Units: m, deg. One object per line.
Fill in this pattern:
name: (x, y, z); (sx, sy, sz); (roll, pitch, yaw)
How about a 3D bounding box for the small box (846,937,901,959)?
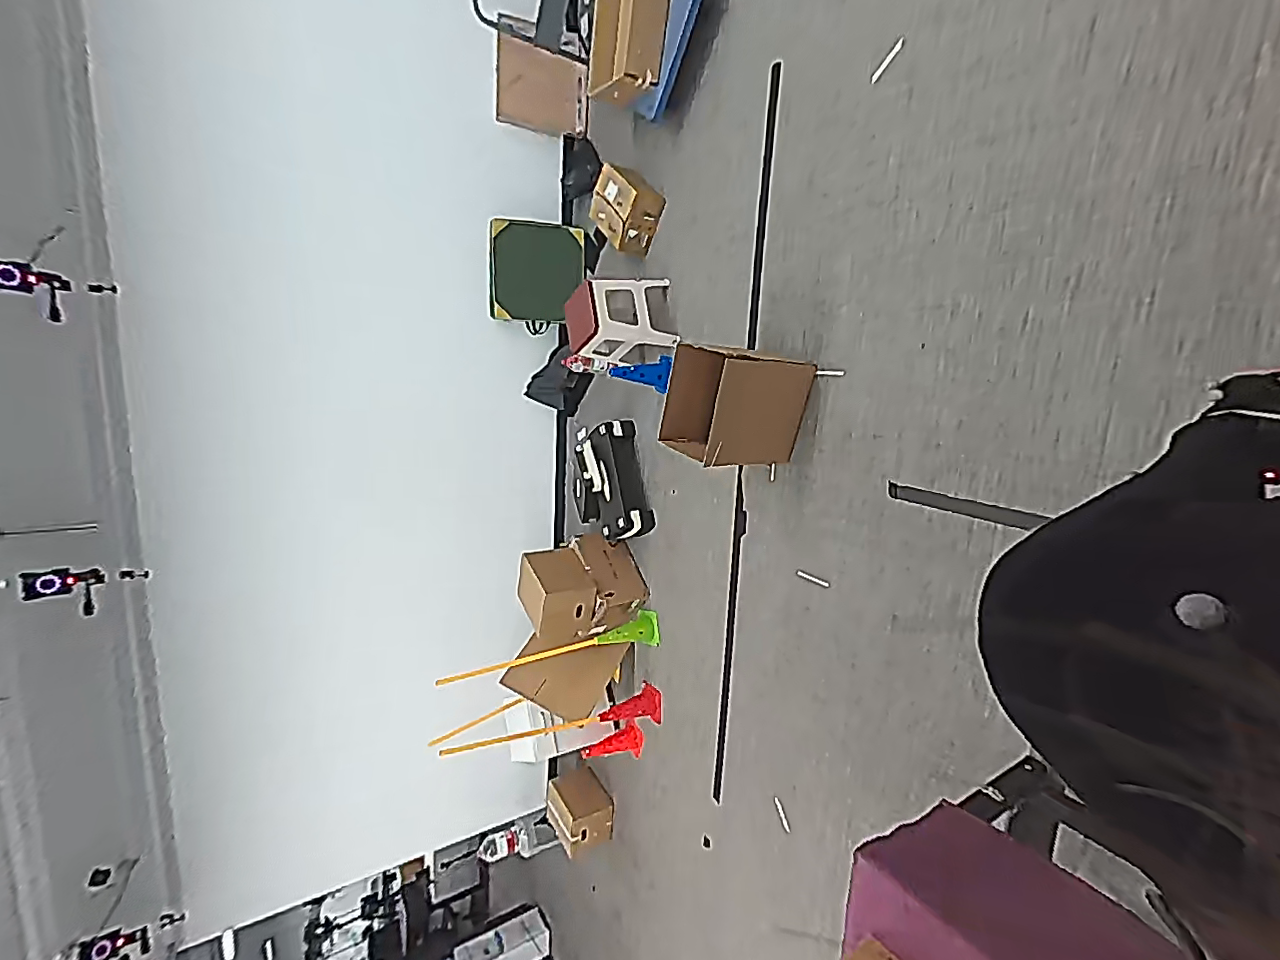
small box: (0.462, 1.037, 1.024); (0.168, 0.176, 0.179); (10, 103, 57)
